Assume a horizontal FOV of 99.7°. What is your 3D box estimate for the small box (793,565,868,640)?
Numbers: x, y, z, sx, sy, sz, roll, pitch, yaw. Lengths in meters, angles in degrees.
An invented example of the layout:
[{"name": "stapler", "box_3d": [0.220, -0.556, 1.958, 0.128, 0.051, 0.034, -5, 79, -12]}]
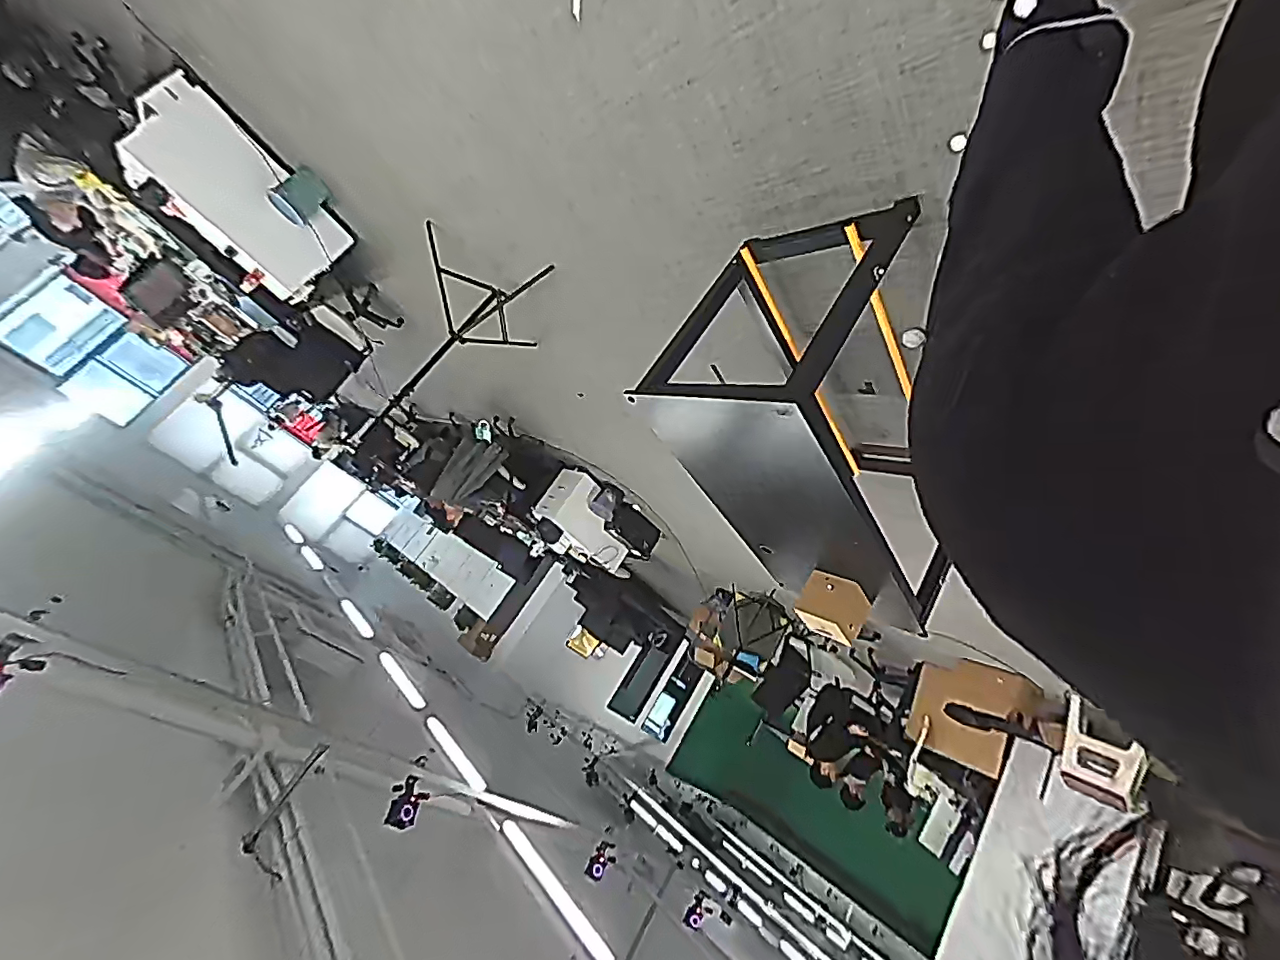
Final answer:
[{"name": "small box", "box_3d": [0.674, 0.426, 1.897, 0.168, 0.176, 0.179, 14, 153, 48]}]
